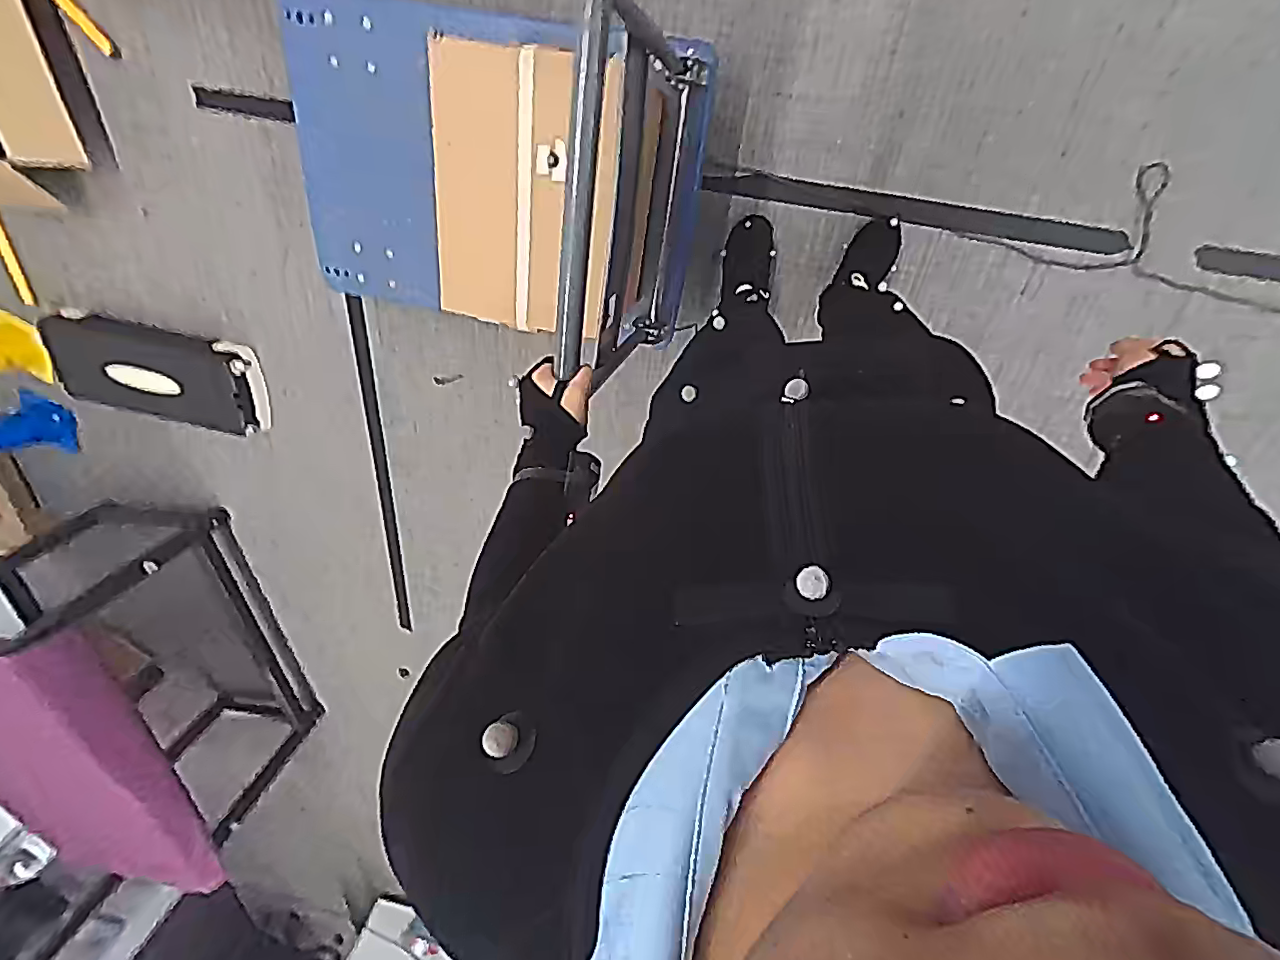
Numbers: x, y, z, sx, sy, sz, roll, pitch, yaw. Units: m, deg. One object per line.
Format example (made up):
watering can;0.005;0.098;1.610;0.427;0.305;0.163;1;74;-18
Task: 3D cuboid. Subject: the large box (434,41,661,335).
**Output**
large box;-0.156;-0.526;1.019;0.320;0.320;0.408;11;120;5
